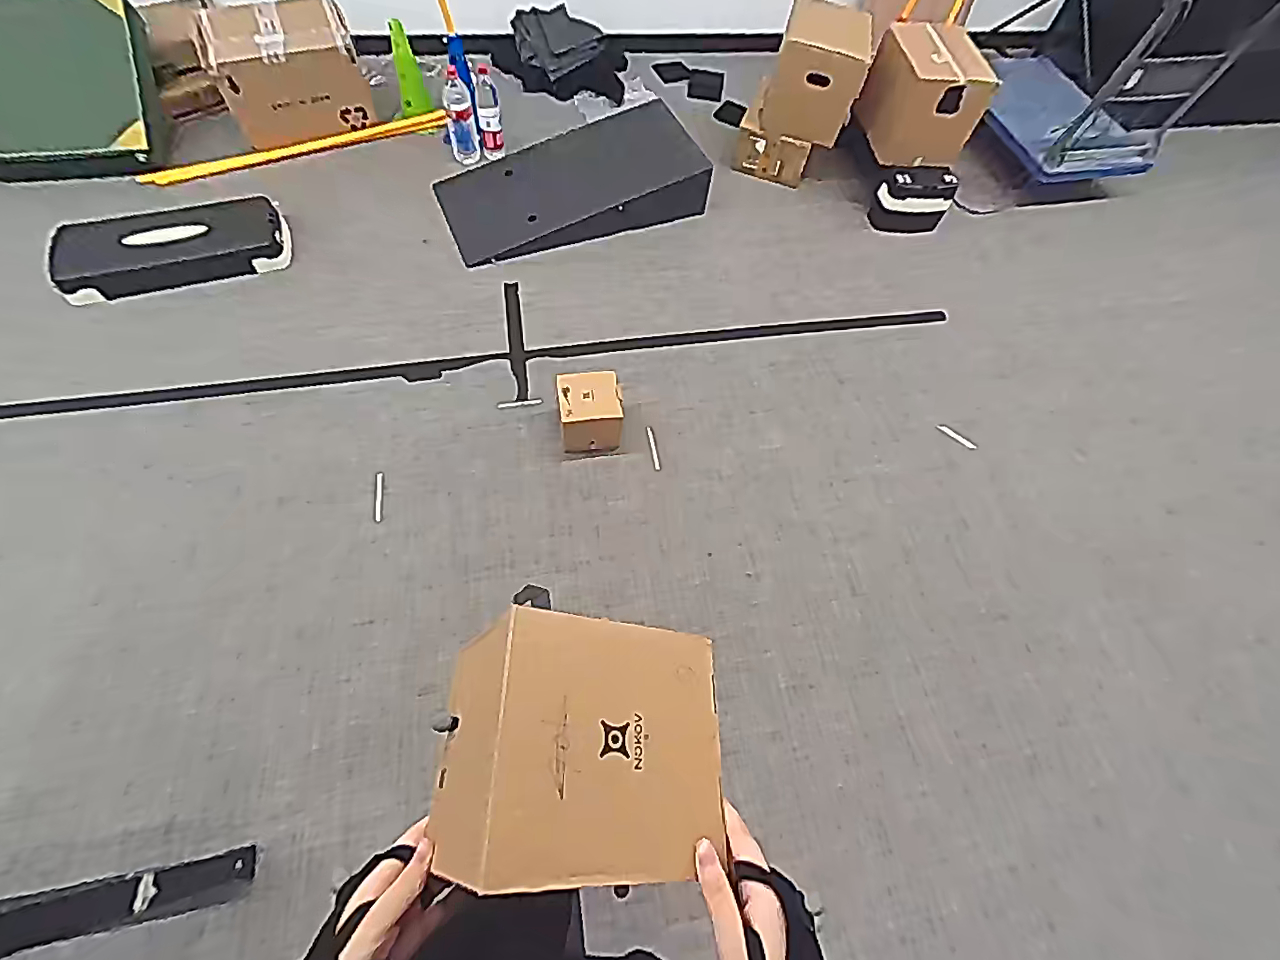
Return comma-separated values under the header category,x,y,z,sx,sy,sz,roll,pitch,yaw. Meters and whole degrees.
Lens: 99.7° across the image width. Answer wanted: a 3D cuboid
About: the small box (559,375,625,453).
category,x,y,z,sx,sy,sz,roll,pitch,yaw
small box,-0.147,-0.193,1.602,0.179,0.176,0.168,-5,63,-9
